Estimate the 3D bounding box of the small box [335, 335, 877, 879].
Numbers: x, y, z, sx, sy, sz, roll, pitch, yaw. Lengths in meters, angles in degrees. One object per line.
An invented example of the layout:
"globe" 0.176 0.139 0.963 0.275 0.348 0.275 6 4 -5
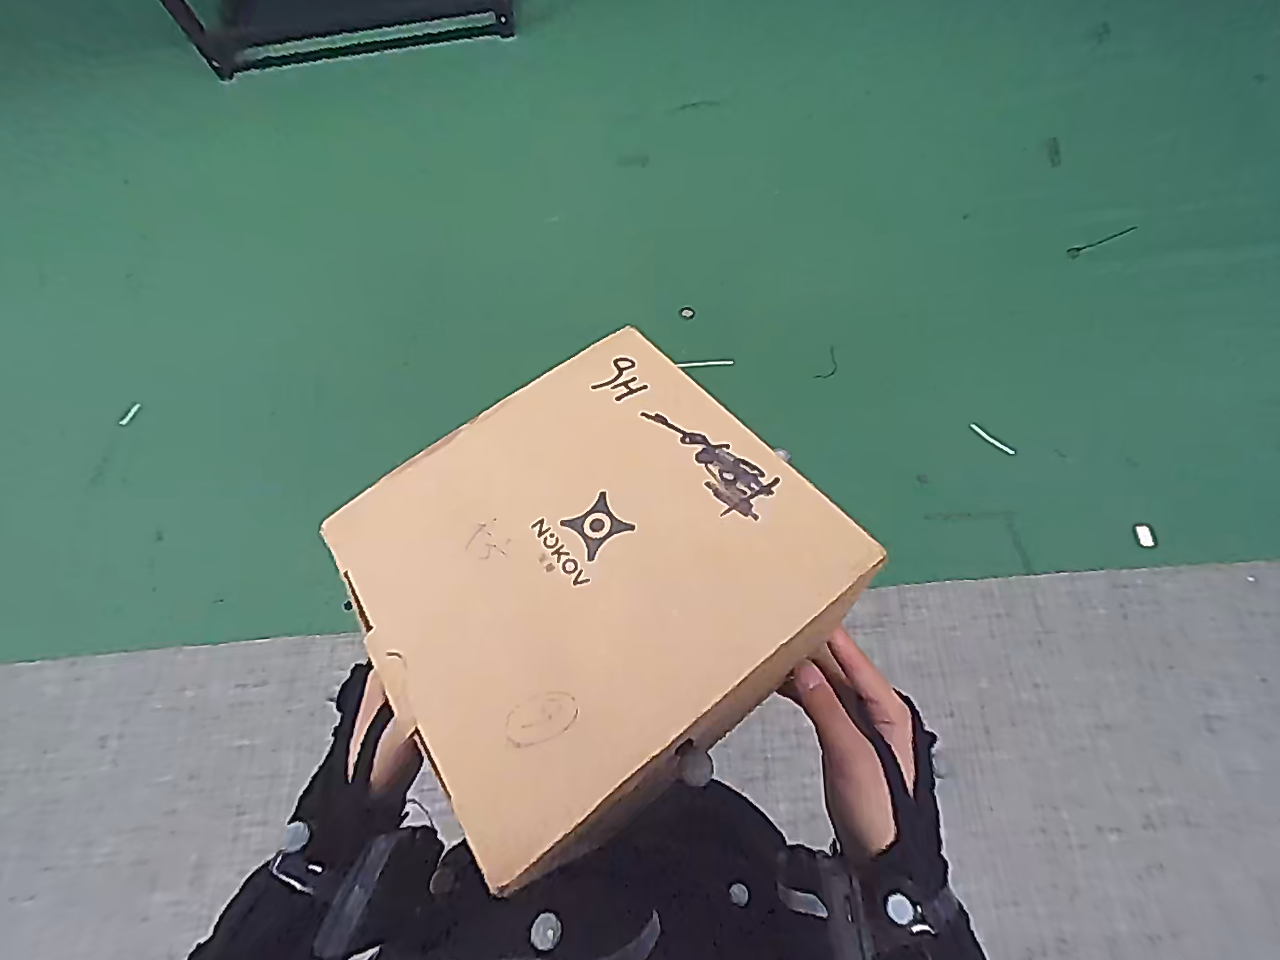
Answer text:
"small box" -0.012 0.066 0.290 0.179 0.176 0.168 -36 61 -12
